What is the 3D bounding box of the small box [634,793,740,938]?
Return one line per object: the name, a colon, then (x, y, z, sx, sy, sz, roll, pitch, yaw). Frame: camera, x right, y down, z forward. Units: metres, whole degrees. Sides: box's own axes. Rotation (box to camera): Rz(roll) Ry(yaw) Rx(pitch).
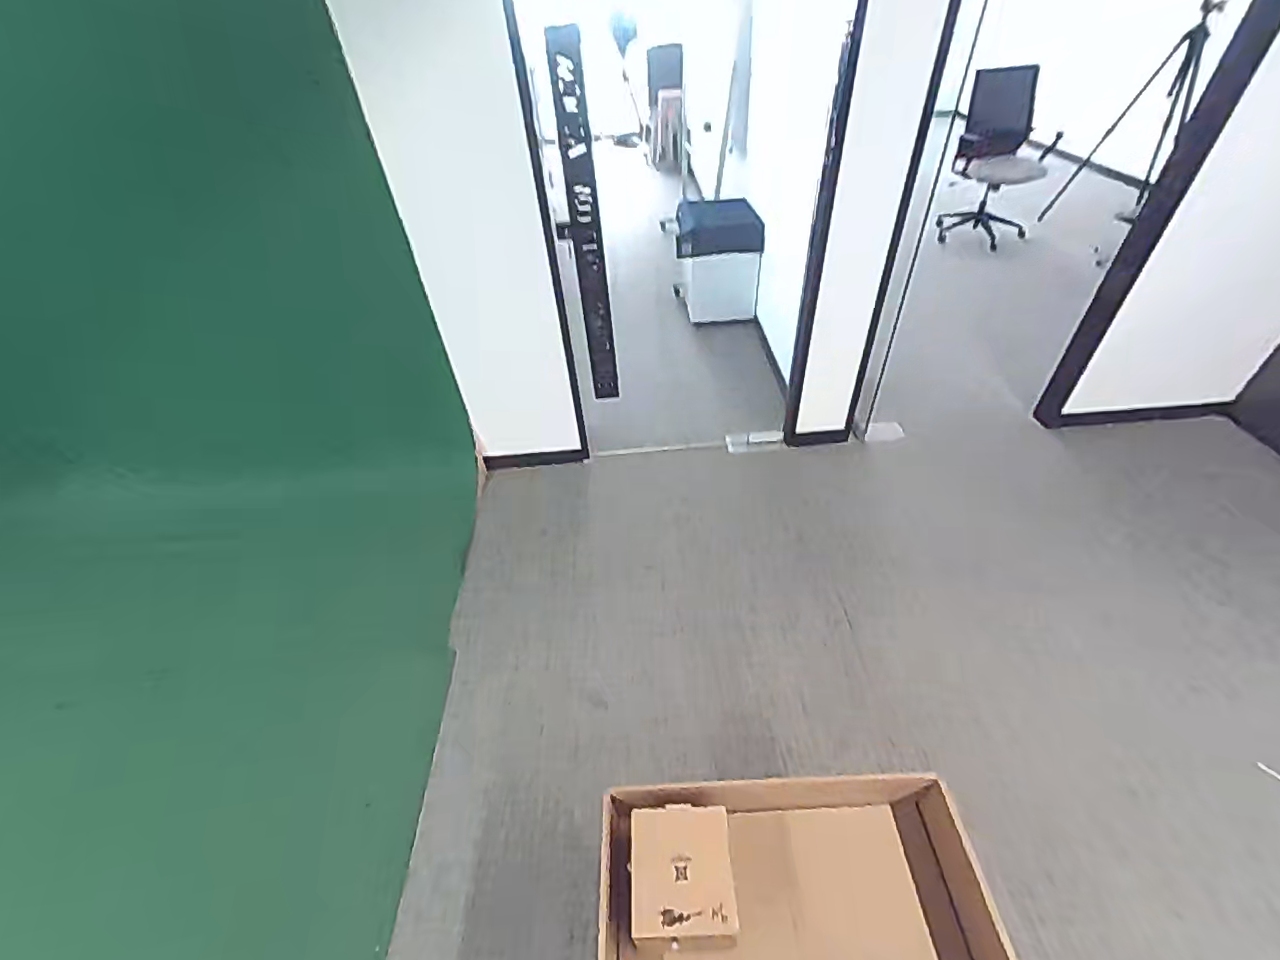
small box: (0.077, 0.667, 0.937, 0.168, 0.176, 0.179, -2, 43, 3)
